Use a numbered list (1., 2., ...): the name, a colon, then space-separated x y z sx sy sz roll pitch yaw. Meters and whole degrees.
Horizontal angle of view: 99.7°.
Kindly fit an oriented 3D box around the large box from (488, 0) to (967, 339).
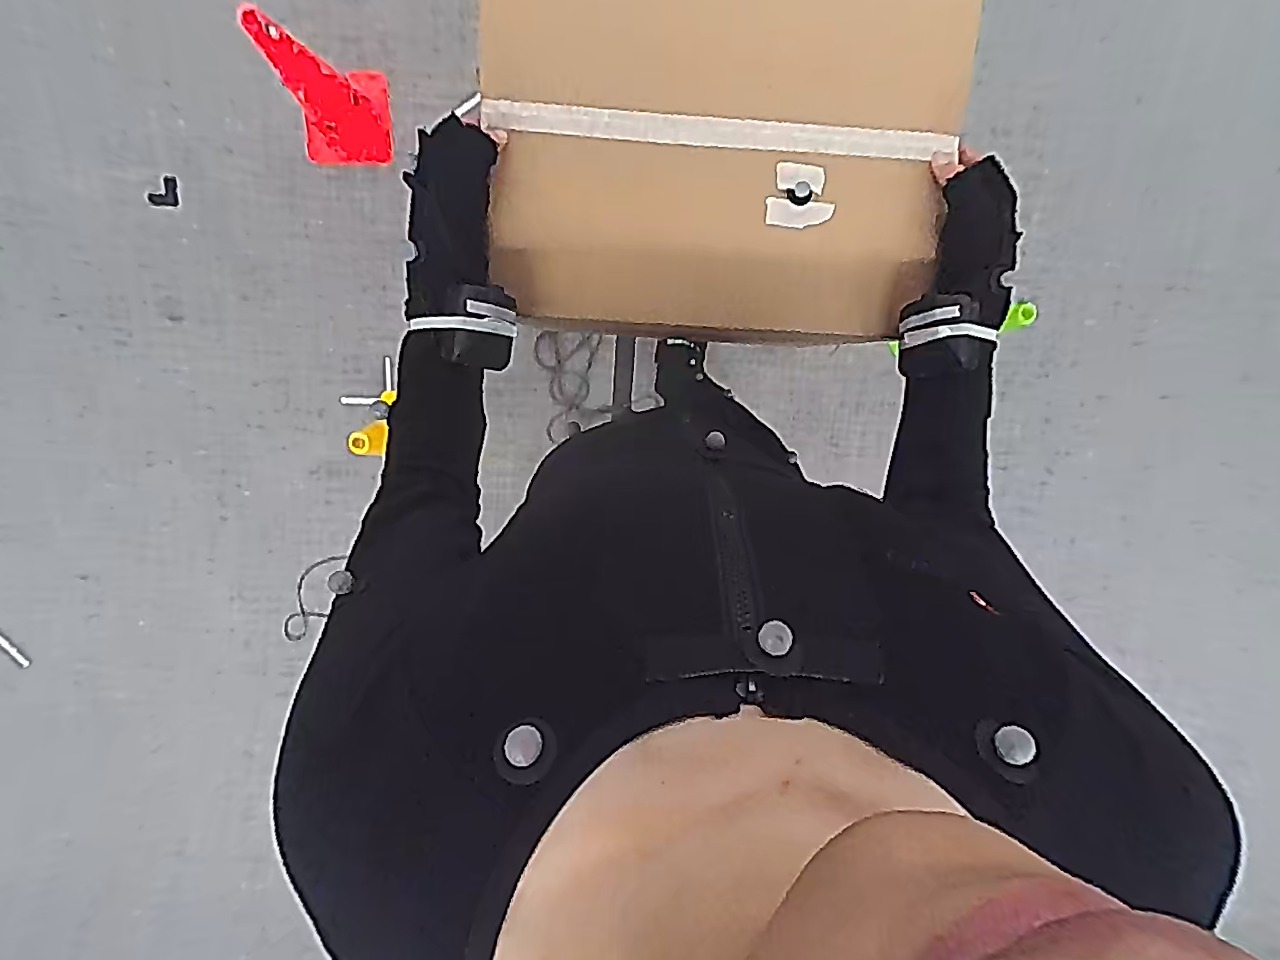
1. large box: 0.062 -0.331 0.608 0.408 0.320 0.320 2 103 -4

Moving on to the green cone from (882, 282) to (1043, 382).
1. green cone: 0.772 -0.362 1.258 0.202 0.368 0.200 -35 100 2

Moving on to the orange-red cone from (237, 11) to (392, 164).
1. orange-red cone: -0.687 -0.825 1.113 0.198 0.360 0.199 0 101 -2
